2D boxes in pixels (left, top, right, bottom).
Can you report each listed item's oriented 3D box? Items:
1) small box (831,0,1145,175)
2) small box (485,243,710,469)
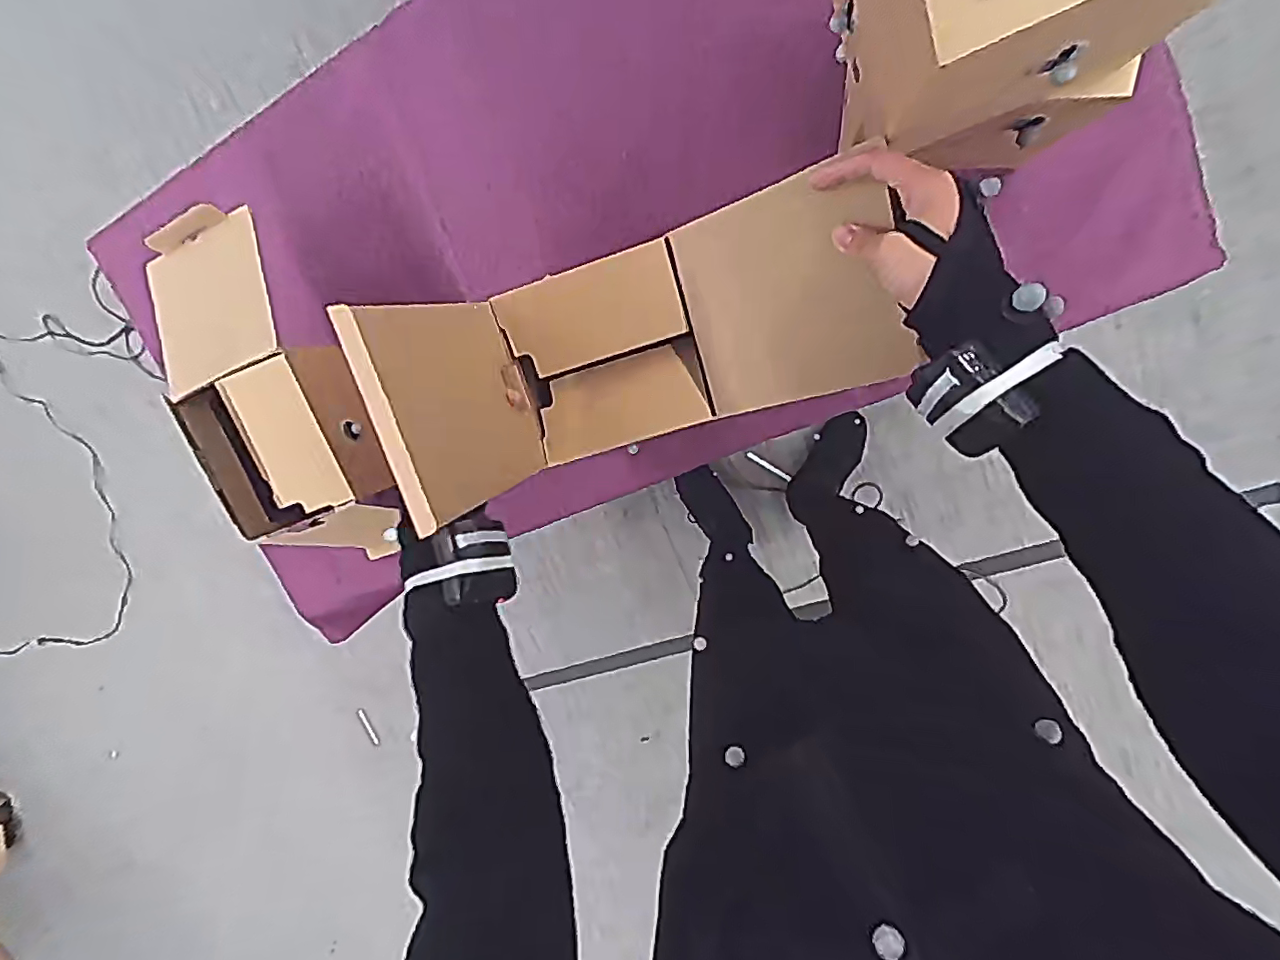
[{"bbox_3d":[0.268,-0.366,0.445,0.179,0.176,0.168,5,105,11],"label":"small box"},{"bbox_3d":[-0.028,-0.125,0.567,0.179,0.176,0.168,-15,103,11],"label":"small box"}]
